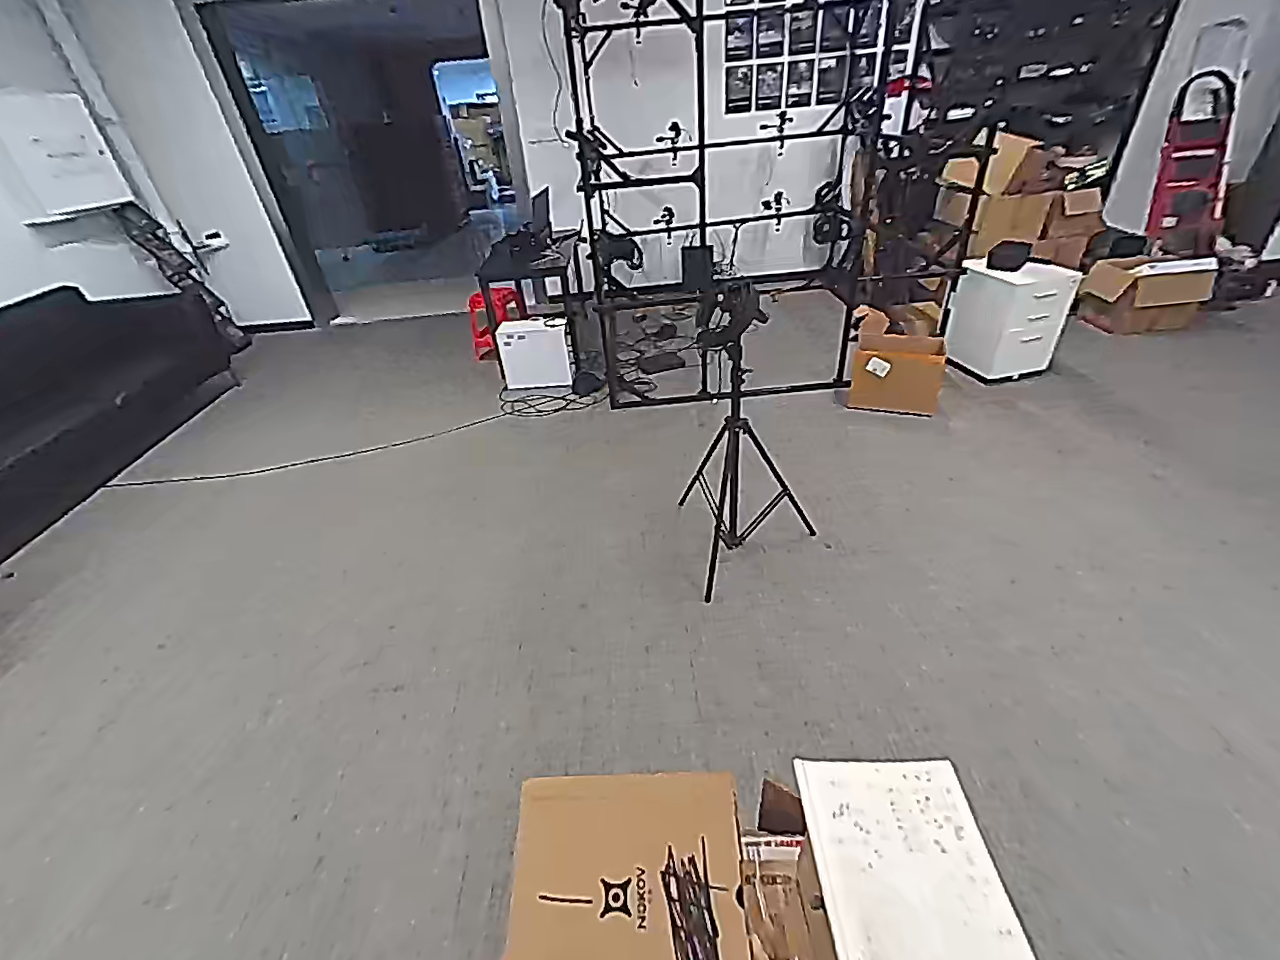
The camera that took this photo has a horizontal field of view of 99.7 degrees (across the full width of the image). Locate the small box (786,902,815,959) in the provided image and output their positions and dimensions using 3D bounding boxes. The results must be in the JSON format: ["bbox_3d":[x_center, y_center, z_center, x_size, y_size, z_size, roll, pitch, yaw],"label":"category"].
[{"bbox_3d":[0.309,0.682,0.722,0.179,0.176,0.168,-5,35,-2],"label":"small box"}]

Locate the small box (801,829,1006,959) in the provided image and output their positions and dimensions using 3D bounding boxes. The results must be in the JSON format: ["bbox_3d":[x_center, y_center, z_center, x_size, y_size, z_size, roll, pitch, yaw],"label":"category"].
[{"bbox_3d":[0.299,0.544,0.635,0.168,0.176,0.179,-3,35,0],"label":"small box"}]

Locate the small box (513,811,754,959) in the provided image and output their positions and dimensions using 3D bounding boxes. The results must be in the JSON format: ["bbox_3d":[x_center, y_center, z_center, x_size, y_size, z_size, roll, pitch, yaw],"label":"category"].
[{"bbox_3d":[-0.001,0.385,0.455,0.179,0.176,0.168,-3,50,3],"label":"small box"}]
